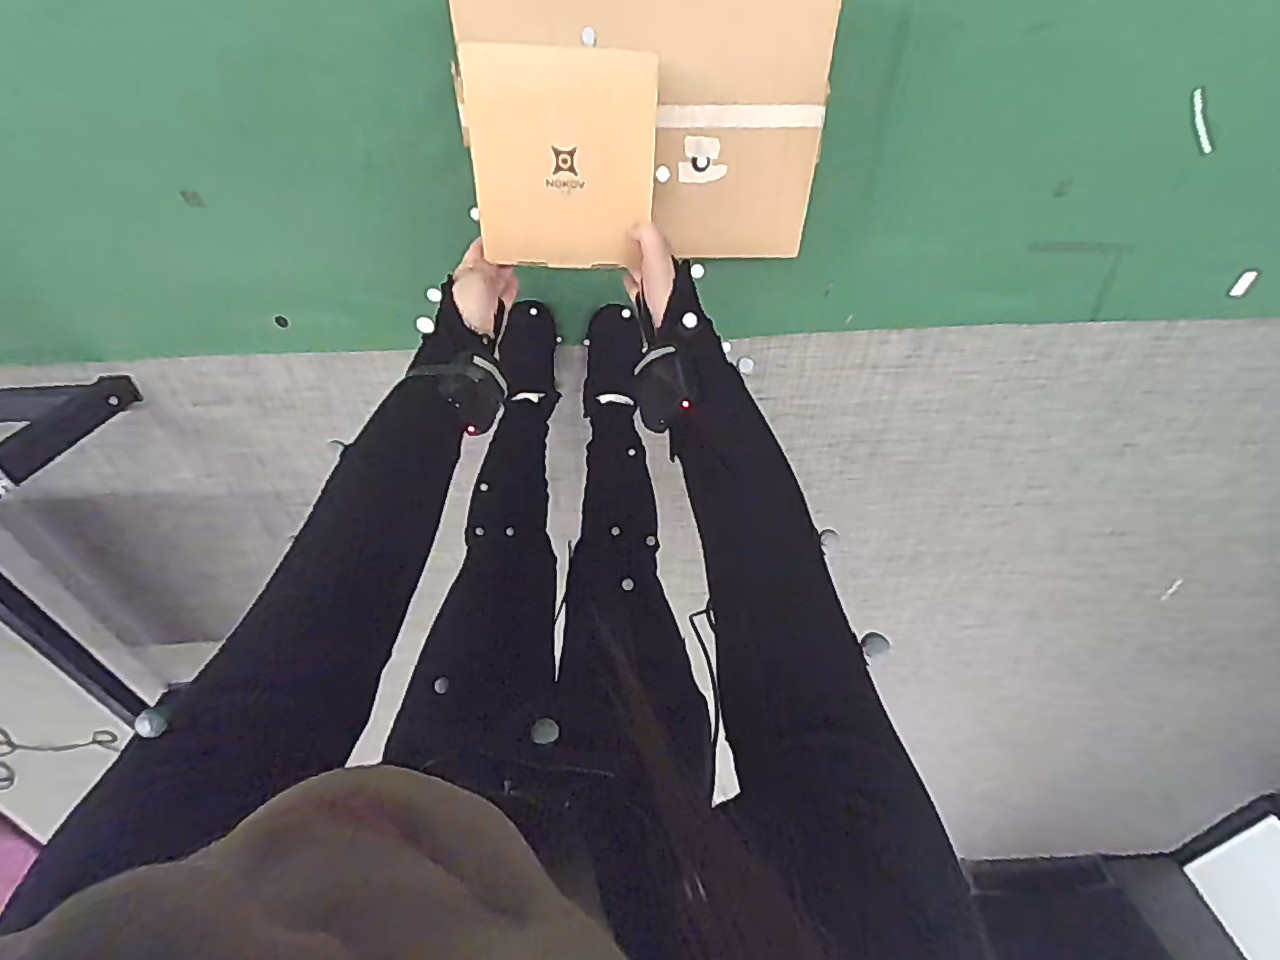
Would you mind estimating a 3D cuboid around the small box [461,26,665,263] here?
[{"bbox_3d":[-0.069,-0.332,0.541,0.168,0.176,0.179,0,128,-3],"label":"small box"}]

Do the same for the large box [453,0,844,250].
[{"bbox_3d":[0.004,-0.506,0.717,0.408,0.320,0.320,-2,128,-2],"label":"large box"}]
